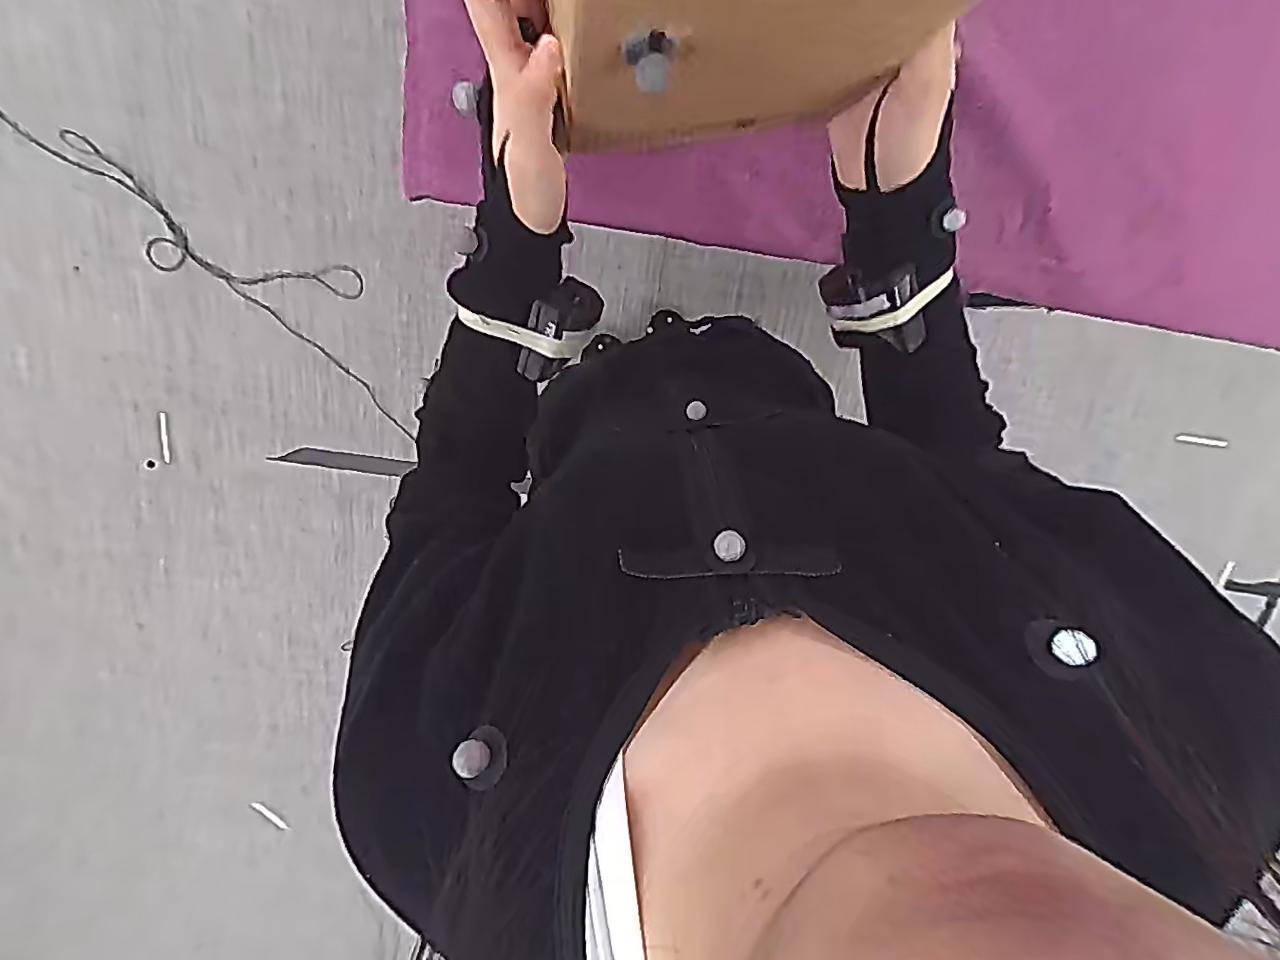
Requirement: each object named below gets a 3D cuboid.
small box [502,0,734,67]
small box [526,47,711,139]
[{"bbox_3d":[-0.011,-0.425,0.379,0.179,0.176,0.168,4,105,-2],"label":"small box"},{"bbox_3d":[-0.015,-0.470,0.534,0.168,0.176,0.179,5,107,-3],"label":"small box"}]
